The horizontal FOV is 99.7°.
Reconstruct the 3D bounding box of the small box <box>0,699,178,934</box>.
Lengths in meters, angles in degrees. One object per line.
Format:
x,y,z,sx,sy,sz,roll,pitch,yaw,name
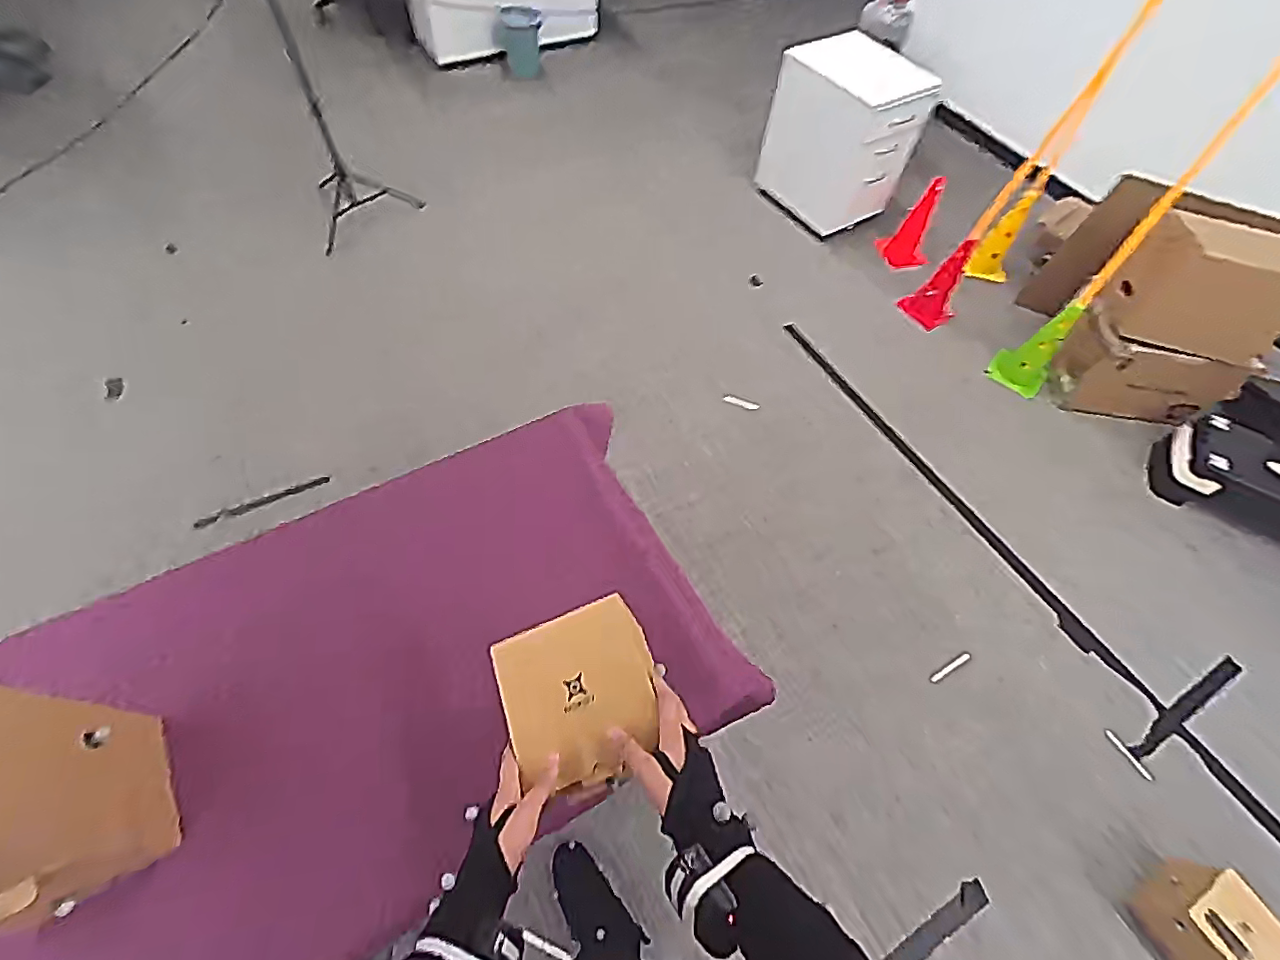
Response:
-0.675,0.381,0.610,0.168,0.176,0.179,-26,64,-18,small box

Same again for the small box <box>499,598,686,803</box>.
-0.053,0.277,0.669,0.168,0.176,0.179,-22,59,-3,small box

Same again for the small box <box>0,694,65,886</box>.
-0.666,0.297,0.469,0.168,0.176,0.179,-29,65,-20,small box
